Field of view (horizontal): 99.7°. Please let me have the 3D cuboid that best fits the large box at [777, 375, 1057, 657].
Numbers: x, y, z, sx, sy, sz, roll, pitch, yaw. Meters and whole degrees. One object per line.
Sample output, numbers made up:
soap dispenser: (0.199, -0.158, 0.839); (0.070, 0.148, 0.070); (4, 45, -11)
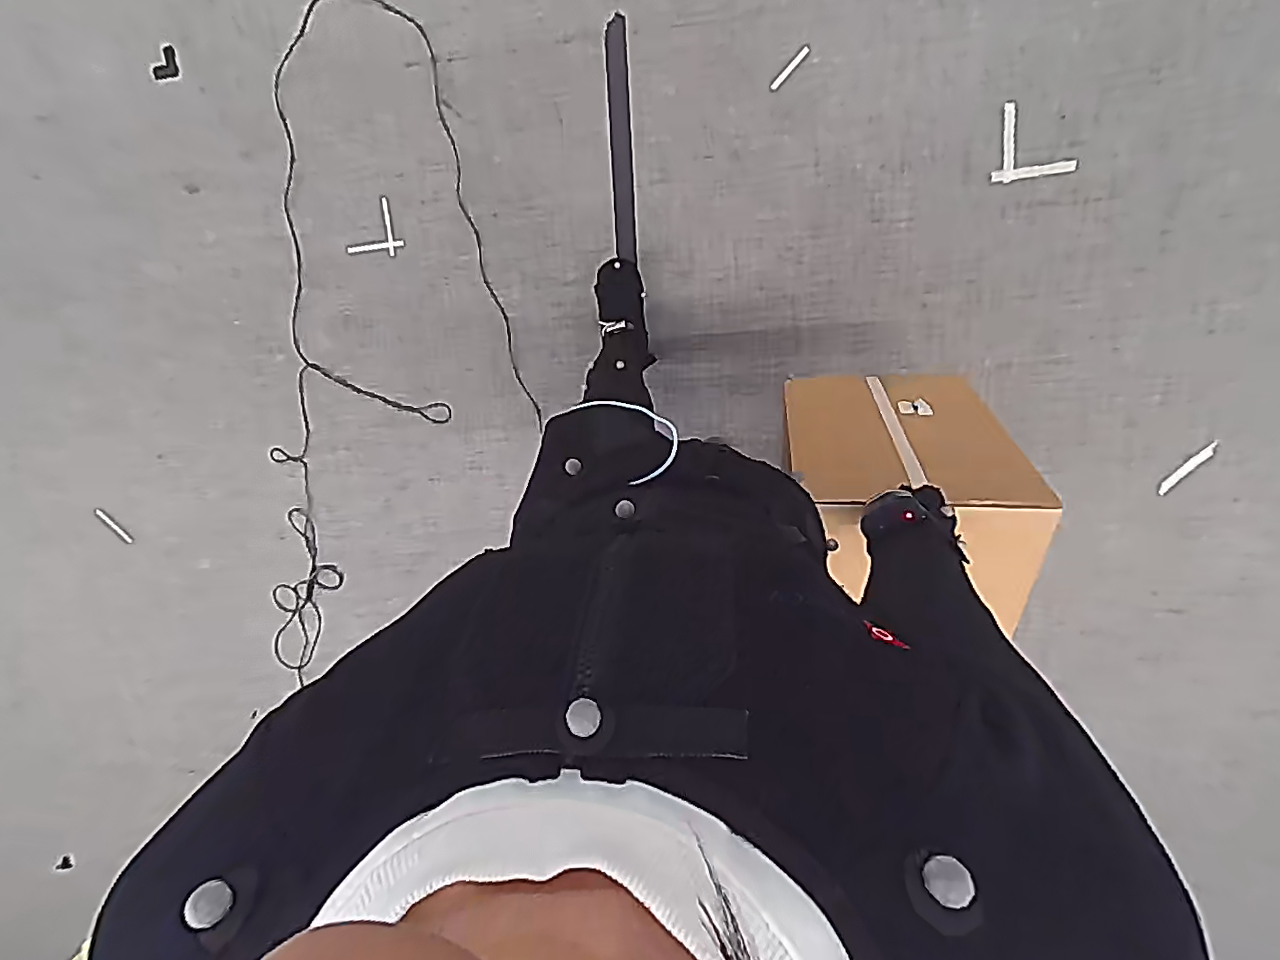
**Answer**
large box: (0.409, 0.045, 0.928); (0.320, 0.408, 0.320); (1, 122, 10)
